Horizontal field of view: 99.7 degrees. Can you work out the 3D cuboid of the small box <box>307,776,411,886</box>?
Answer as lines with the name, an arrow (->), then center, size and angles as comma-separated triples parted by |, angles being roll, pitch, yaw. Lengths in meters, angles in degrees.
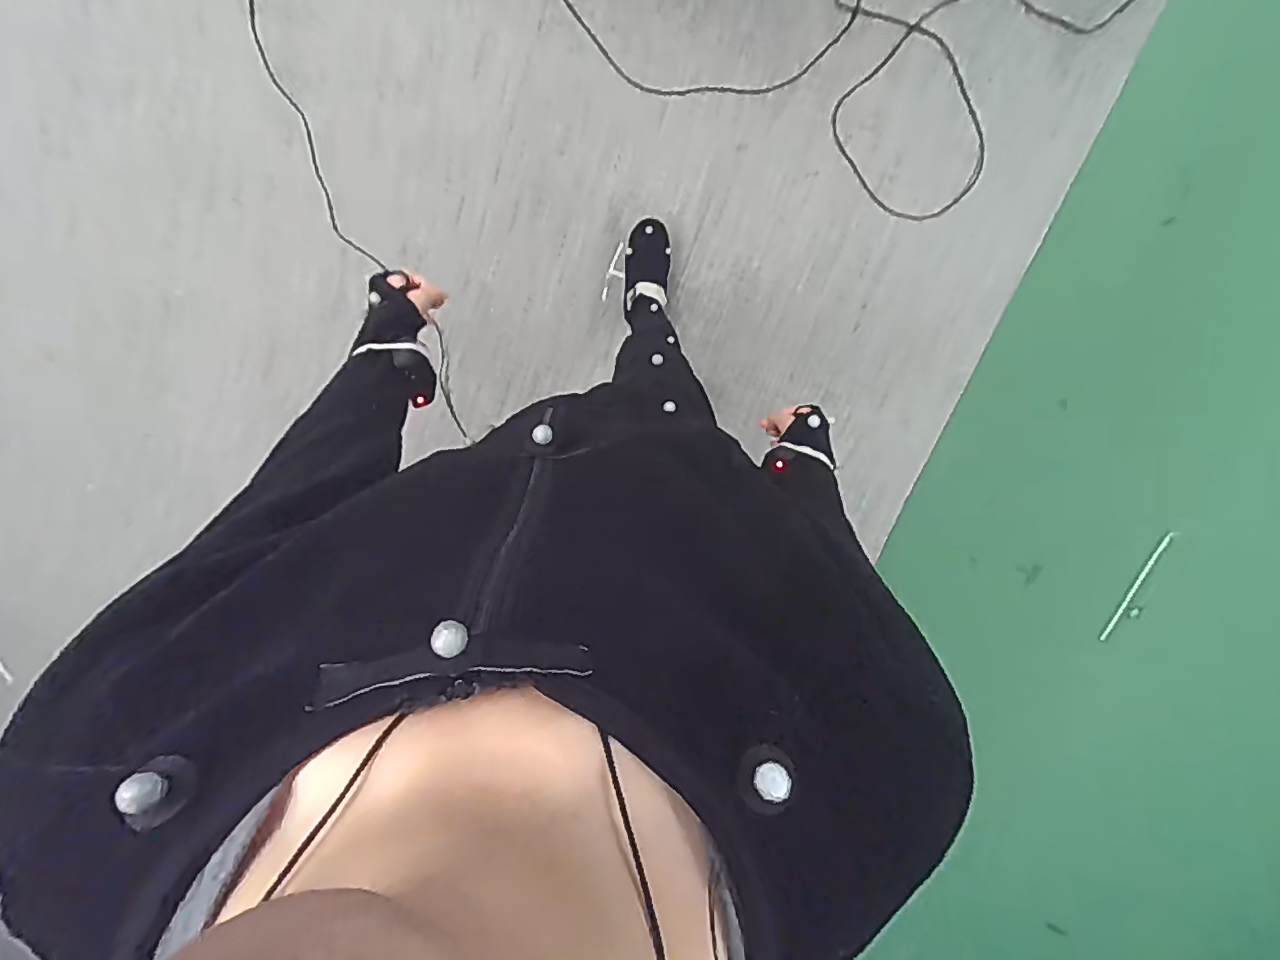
small box -> -0.749, 0.934, 1.453 | 0.179, 0.176, 0.168 | 18, 102, -7
